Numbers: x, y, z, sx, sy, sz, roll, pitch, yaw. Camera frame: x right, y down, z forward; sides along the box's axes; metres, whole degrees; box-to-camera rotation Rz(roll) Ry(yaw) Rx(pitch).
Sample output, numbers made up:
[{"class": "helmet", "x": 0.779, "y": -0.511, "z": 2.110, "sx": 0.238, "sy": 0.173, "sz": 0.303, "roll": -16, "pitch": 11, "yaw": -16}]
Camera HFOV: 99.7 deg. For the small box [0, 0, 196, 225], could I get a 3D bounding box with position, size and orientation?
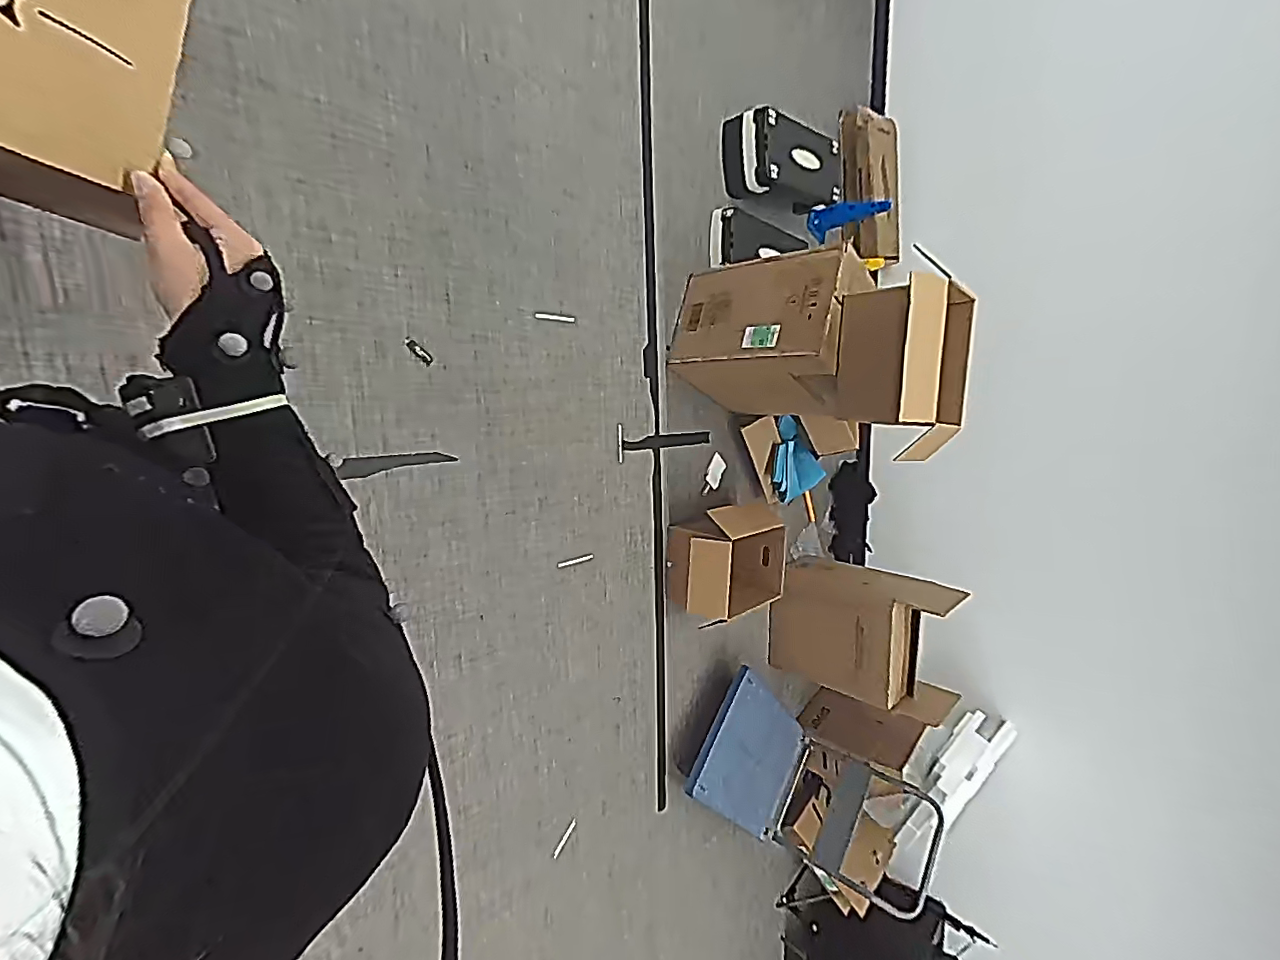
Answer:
[{"class": "small box", "x": -0.424, "y": -0.292, "z": 0.356, "sx": 0.179, "sy": 0.176, "sz": 0.168, "roll": 12, "pitch": 91, "yaw": -46}]
